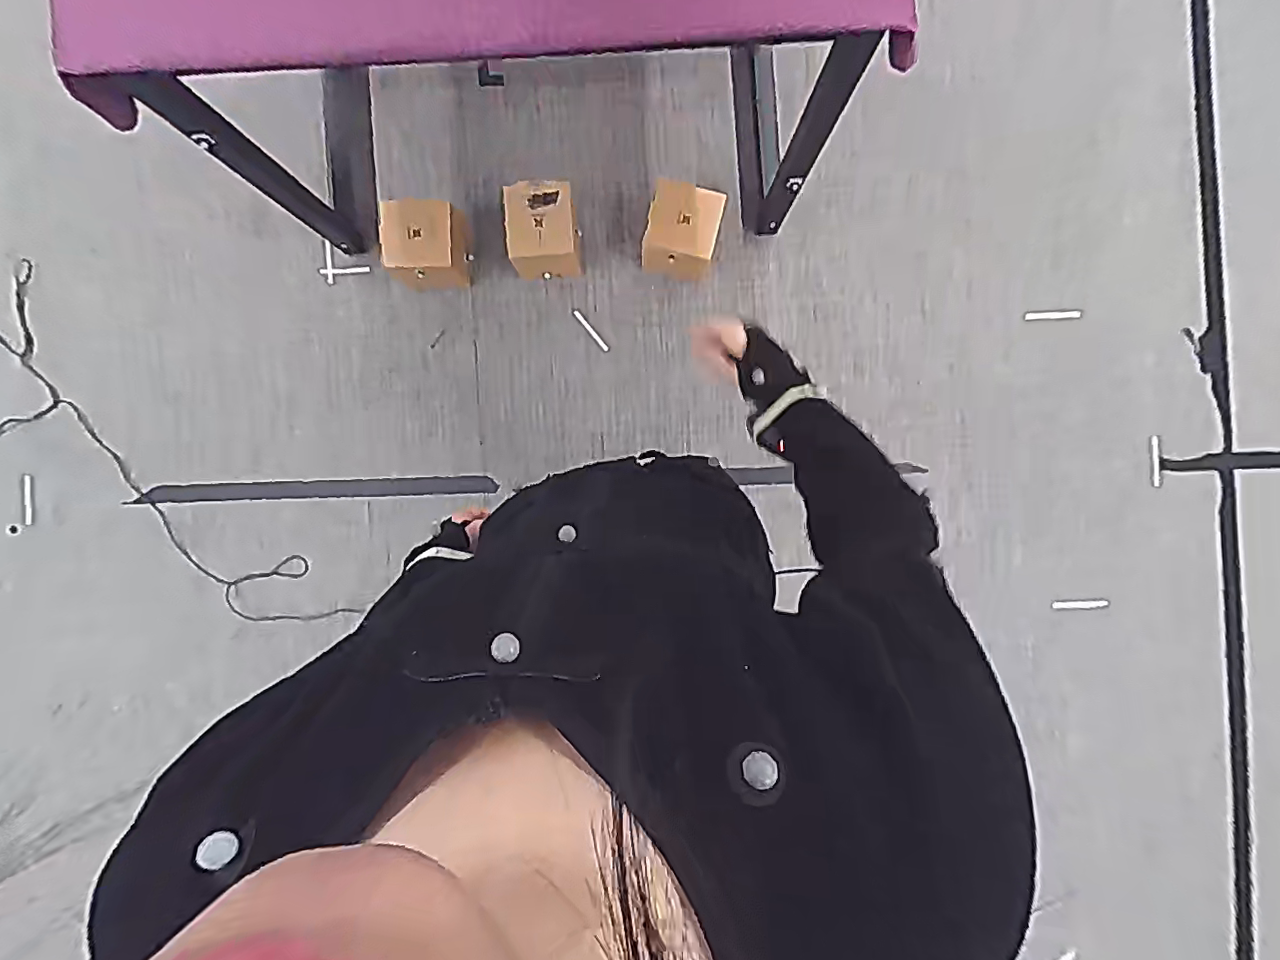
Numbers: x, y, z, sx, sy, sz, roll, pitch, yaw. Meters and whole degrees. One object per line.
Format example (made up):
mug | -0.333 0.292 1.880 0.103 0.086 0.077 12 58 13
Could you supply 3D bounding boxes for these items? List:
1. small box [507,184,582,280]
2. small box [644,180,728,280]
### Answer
small box | -0.243 -0.639 1.406 0.168 0.176 0.179 -3 92 0
small box | 0.114 -0.638 1.406 0.179 0.176 0.168 14 91 1
